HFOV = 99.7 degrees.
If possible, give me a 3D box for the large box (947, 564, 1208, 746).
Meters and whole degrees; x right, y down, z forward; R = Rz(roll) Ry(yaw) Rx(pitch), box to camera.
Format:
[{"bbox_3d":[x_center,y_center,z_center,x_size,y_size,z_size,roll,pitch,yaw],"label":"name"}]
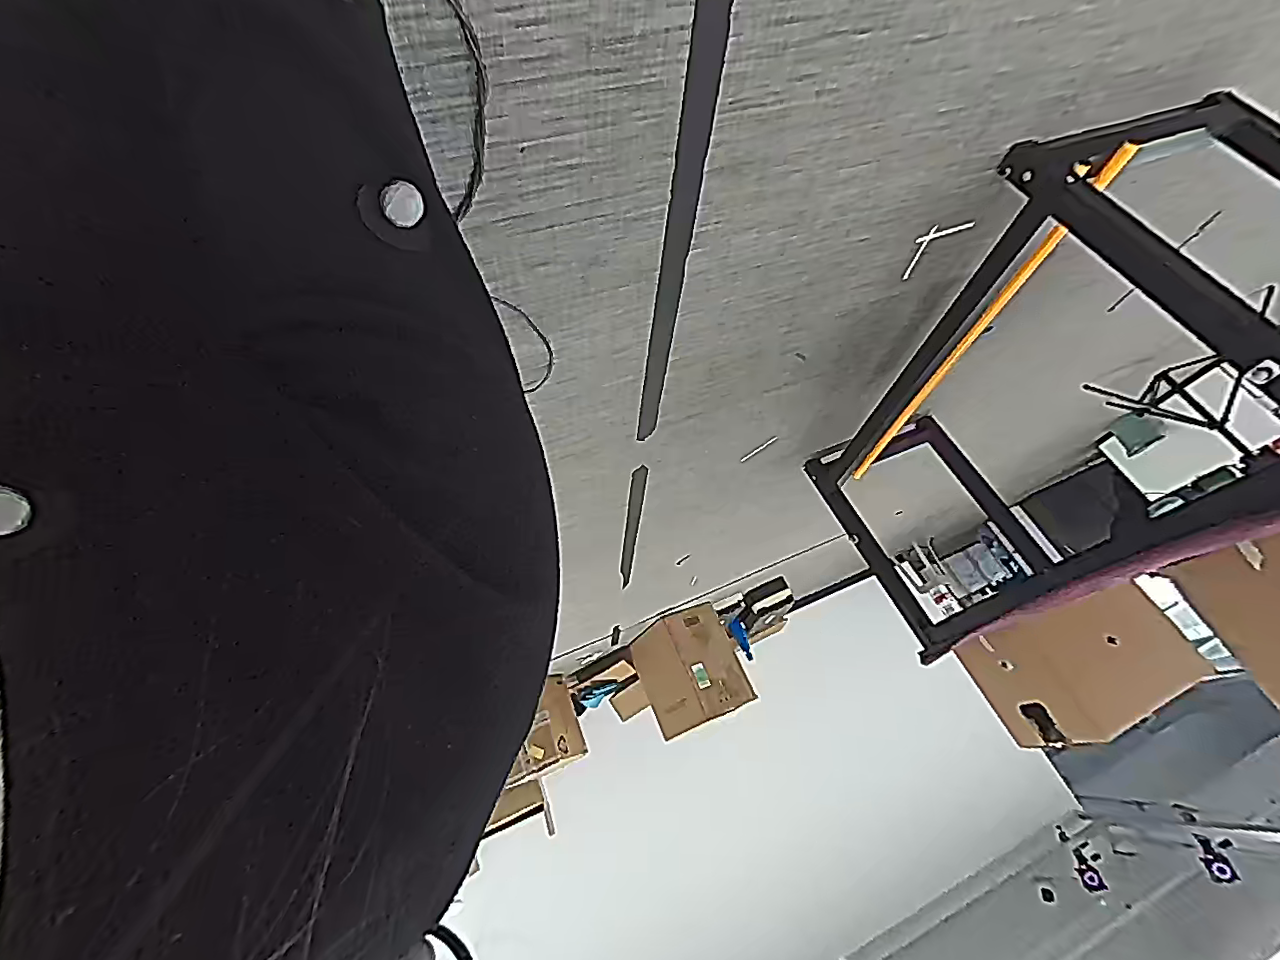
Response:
[{"bbox_3d":[1.175,0.487,1.501,0.408,0.320,0.320,-21,155,-14],"label":"large box"}]
